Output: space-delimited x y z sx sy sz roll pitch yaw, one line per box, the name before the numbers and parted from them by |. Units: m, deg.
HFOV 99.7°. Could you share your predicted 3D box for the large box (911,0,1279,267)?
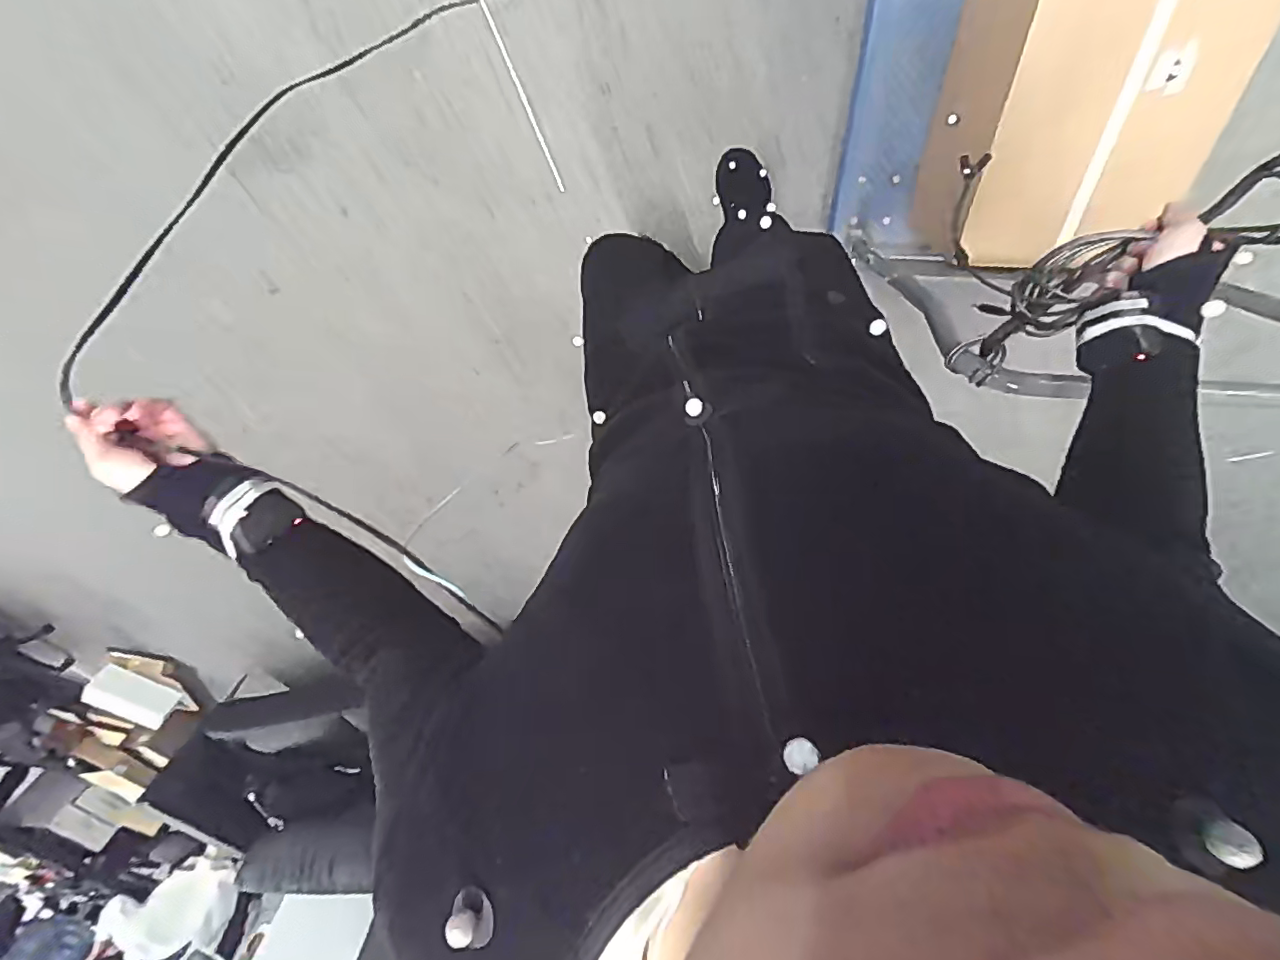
large box | 0.704 -0.607 0.908 0.320 0.320 0.408 4 127 5
